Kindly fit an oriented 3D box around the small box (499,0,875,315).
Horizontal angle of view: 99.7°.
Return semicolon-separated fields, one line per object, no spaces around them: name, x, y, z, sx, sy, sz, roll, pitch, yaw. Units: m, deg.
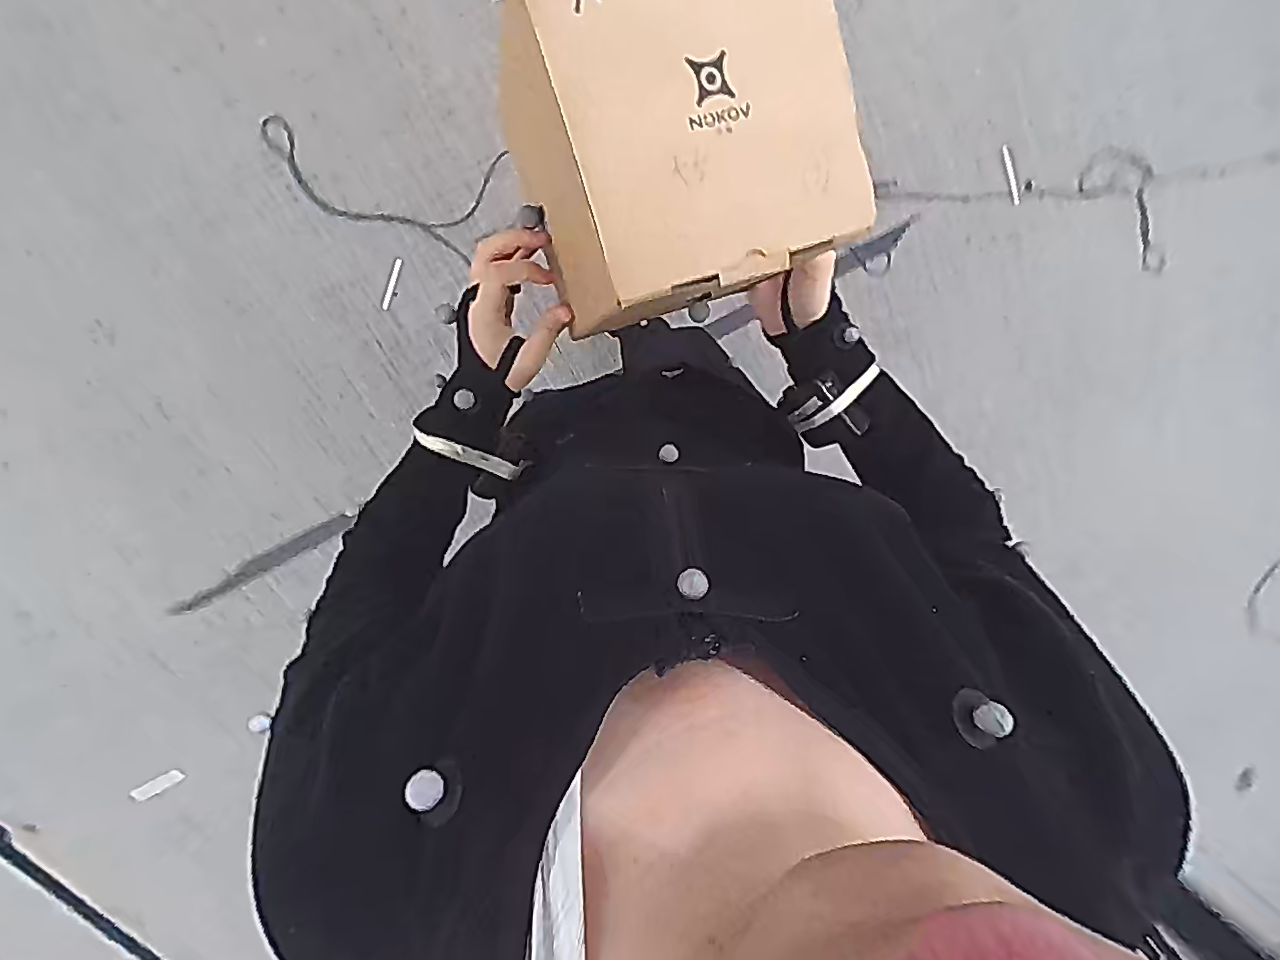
small box;0.016;-0.215;0.351;0.168;0.176;0.179;-21;105;-12
